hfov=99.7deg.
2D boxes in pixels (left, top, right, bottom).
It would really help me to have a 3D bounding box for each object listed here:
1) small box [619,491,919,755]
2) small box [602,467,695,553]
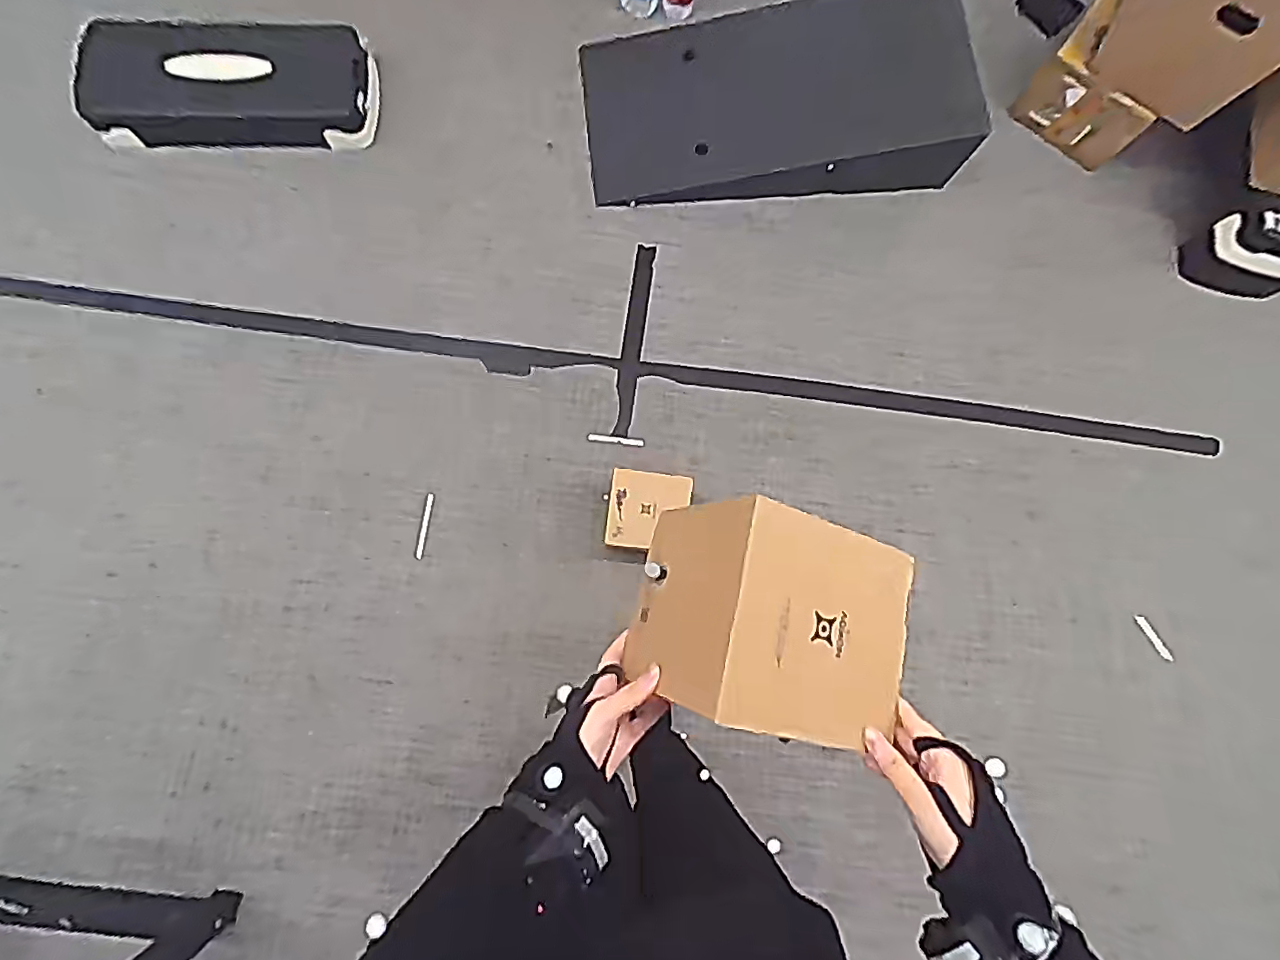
[{"bbox_3d":[0.107,0.119,0.478,0.179,0.176,0.168,21,74,-22],"label":"small box"},{"bbox_3d":[0.014,0.076,1.208,0.179,0.176,0.168,8,80,-4],"label":"small box"}]
